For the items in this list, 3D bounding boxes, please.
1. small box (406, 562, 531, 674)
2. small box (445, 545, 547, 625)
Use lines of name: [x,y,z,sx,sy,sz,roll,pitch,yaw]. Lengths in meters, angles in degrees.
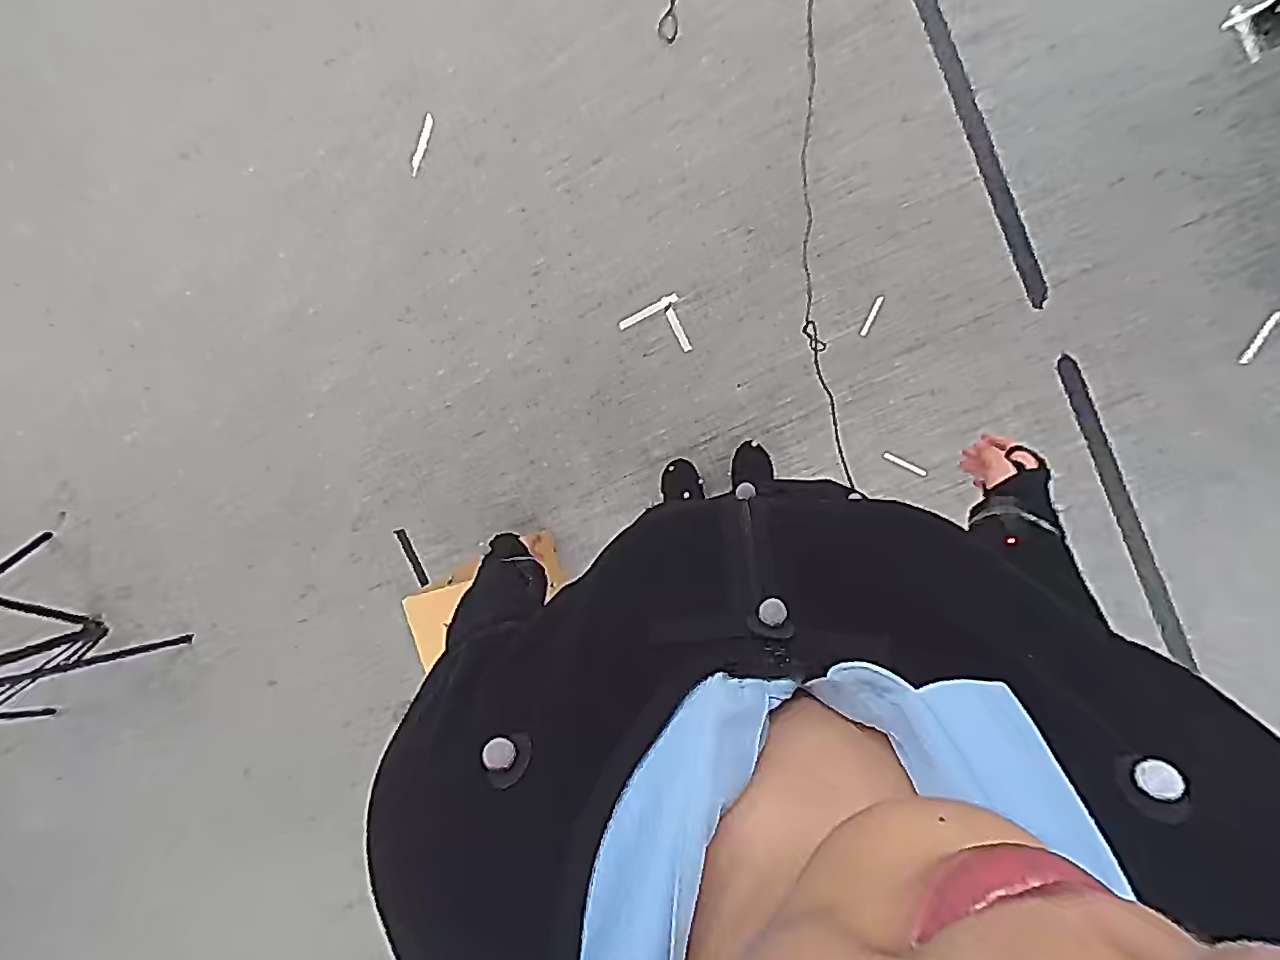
small box: [-0.361,0.290,1.166,0.179,0.176,0.168,-17,93,8]
small box: [-0.341,0.270,1.325,0.179,0.176,0.168,-17,93,8]
